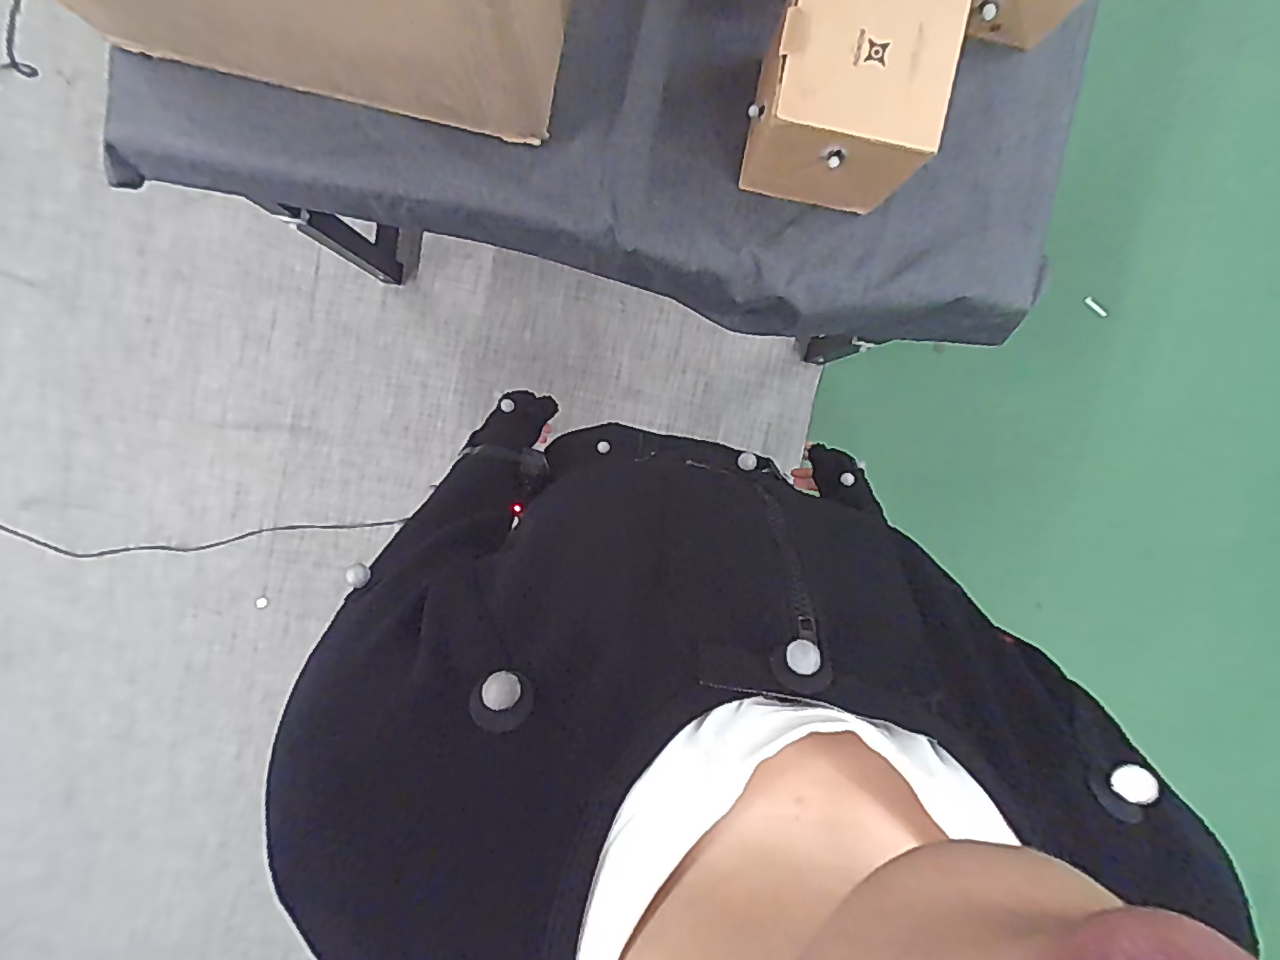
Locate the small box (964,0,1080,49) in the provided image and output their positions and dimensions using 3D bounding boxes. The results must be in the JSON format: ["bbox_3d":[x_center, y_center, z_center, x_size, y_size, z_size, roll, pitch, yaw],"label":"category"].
[{"bbox_3d":[0.450,-0.653,0.613,0.168,0.176,0.179,13,96,-3],"label":"small box"}]

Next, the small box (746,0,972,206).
[{"bbox_3d":[0.235,-0.444,0.626,0.179,0.176,0.168,10,96,-4],"label":"small box"}]
